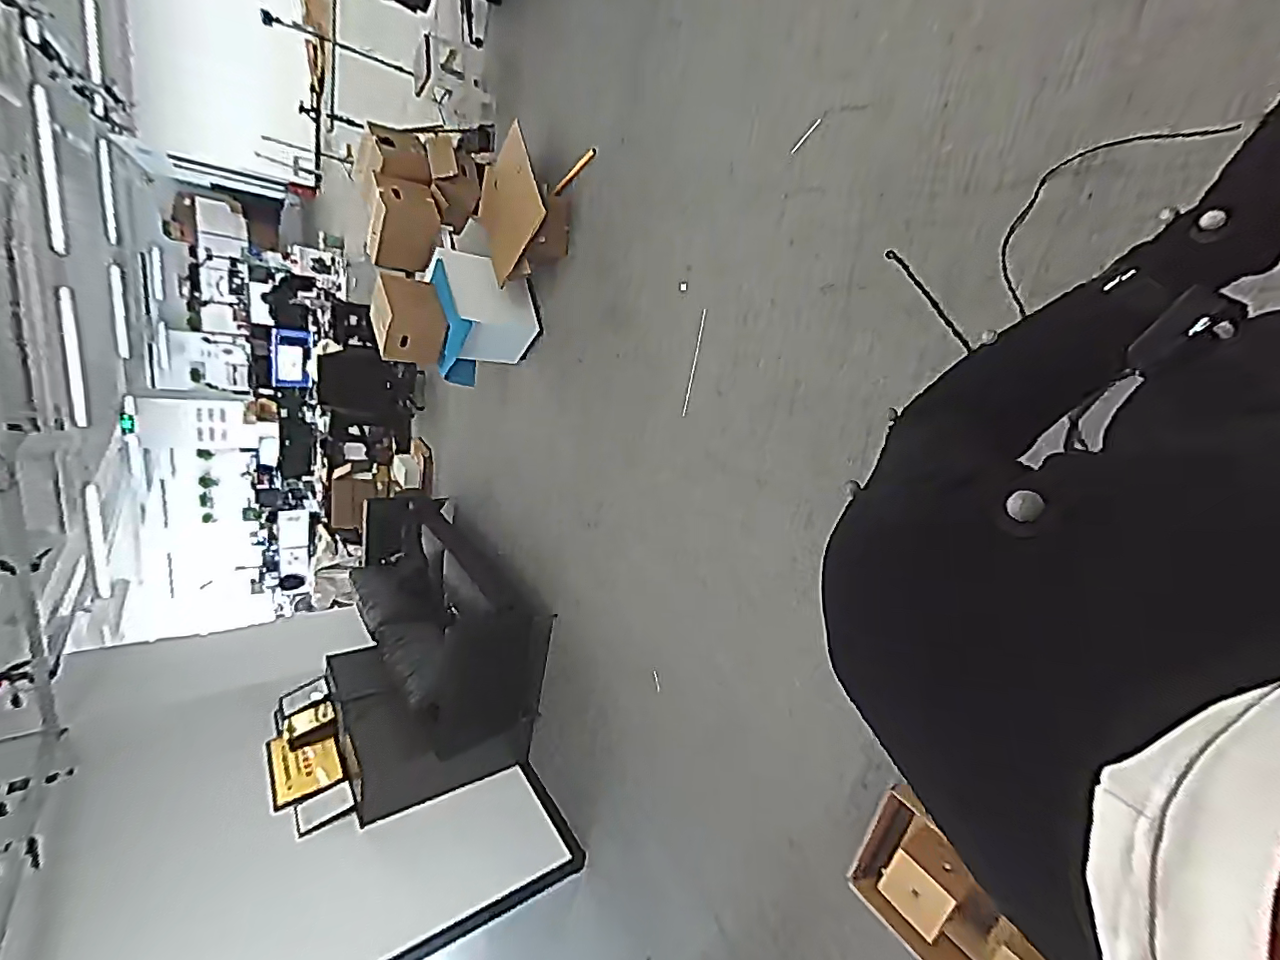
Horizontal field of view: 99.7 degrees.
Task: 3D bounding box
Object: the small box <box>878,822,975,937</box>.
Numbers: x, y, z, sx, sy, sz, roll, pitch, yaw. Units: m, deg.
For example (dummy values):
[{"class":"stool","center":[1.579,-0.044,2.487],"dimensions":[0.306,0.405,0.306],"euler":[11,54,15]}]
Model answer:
[{"class":"small box","center":[0.825,1.135,1.551],"dimensions":[0.168,0.176,0.179],"euler":[34,119,45]}]
